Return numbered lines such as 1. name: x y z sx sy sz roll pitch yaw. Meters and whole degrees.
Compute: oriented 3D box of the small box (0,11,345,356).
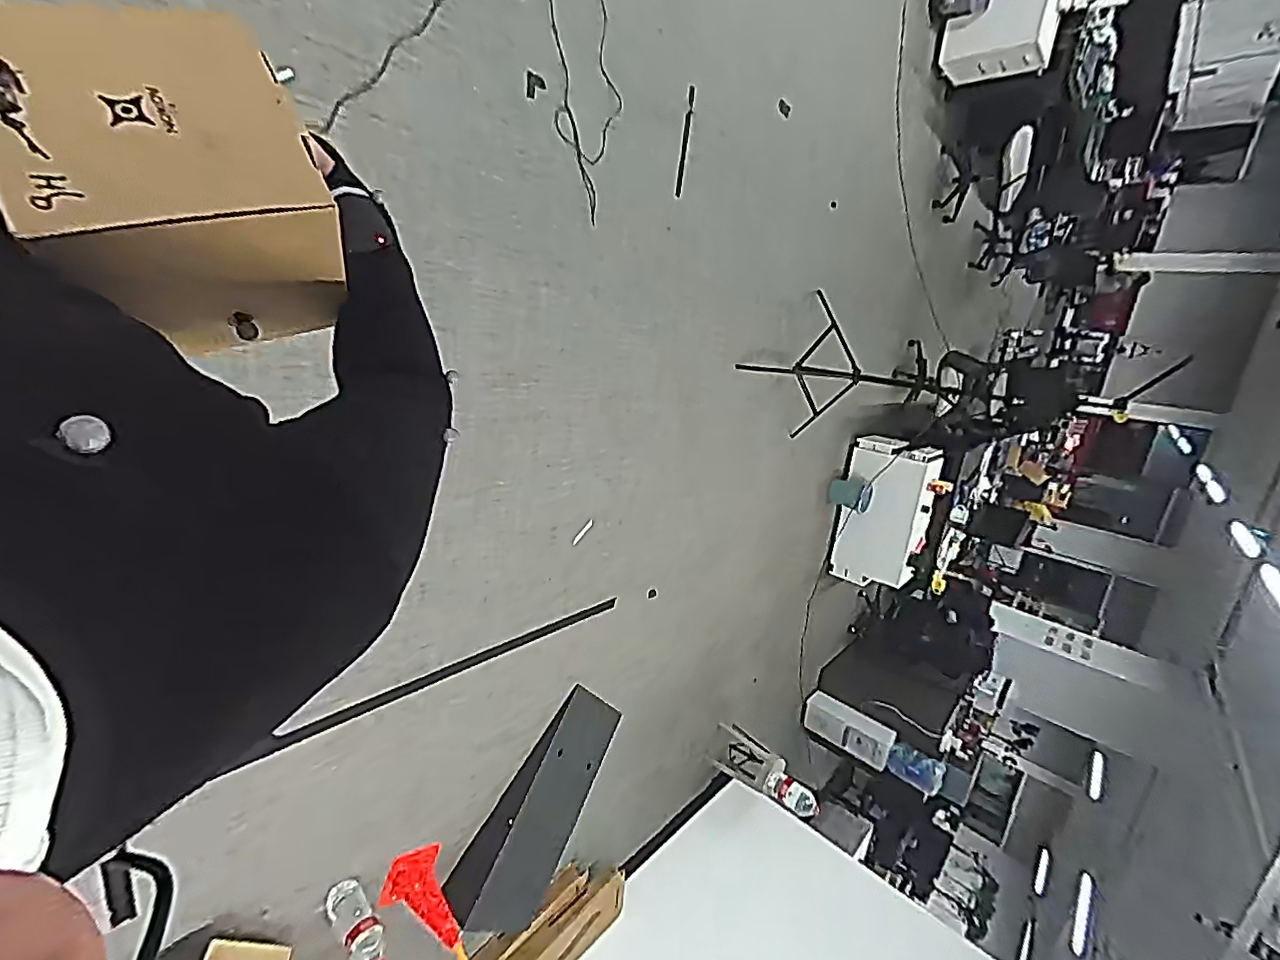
1. small box: -0.363 -0.225 0.443 0.179 0.176 0.168 -24 85 -30
